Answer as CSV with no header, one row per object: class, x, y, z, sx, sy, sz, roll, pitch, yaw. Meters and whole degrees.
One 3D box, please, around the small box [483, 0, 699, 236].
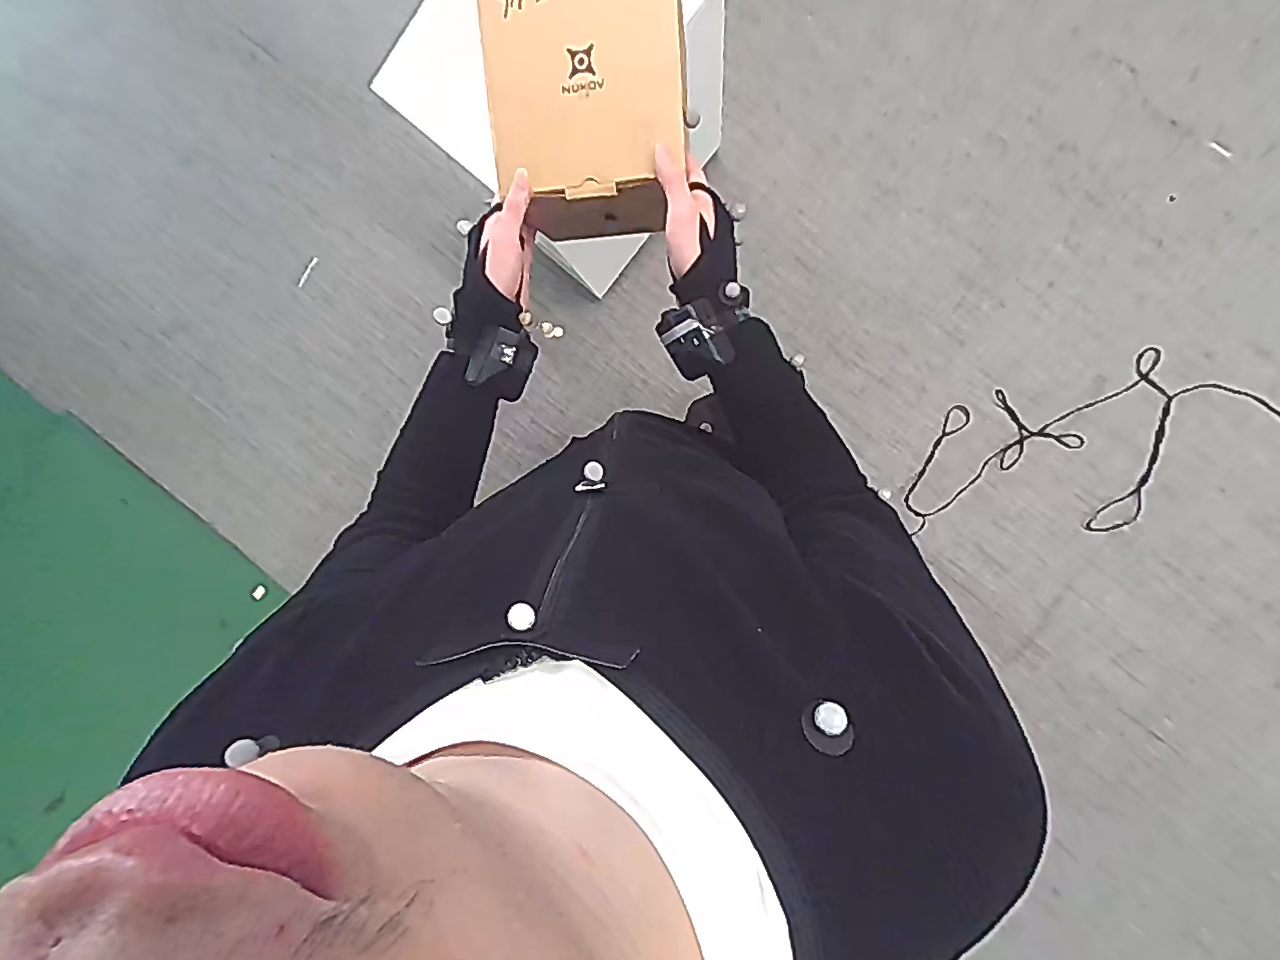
small box,-0.032,-0.351,0.528,0.168,0.176,0.179,-5,101,9
